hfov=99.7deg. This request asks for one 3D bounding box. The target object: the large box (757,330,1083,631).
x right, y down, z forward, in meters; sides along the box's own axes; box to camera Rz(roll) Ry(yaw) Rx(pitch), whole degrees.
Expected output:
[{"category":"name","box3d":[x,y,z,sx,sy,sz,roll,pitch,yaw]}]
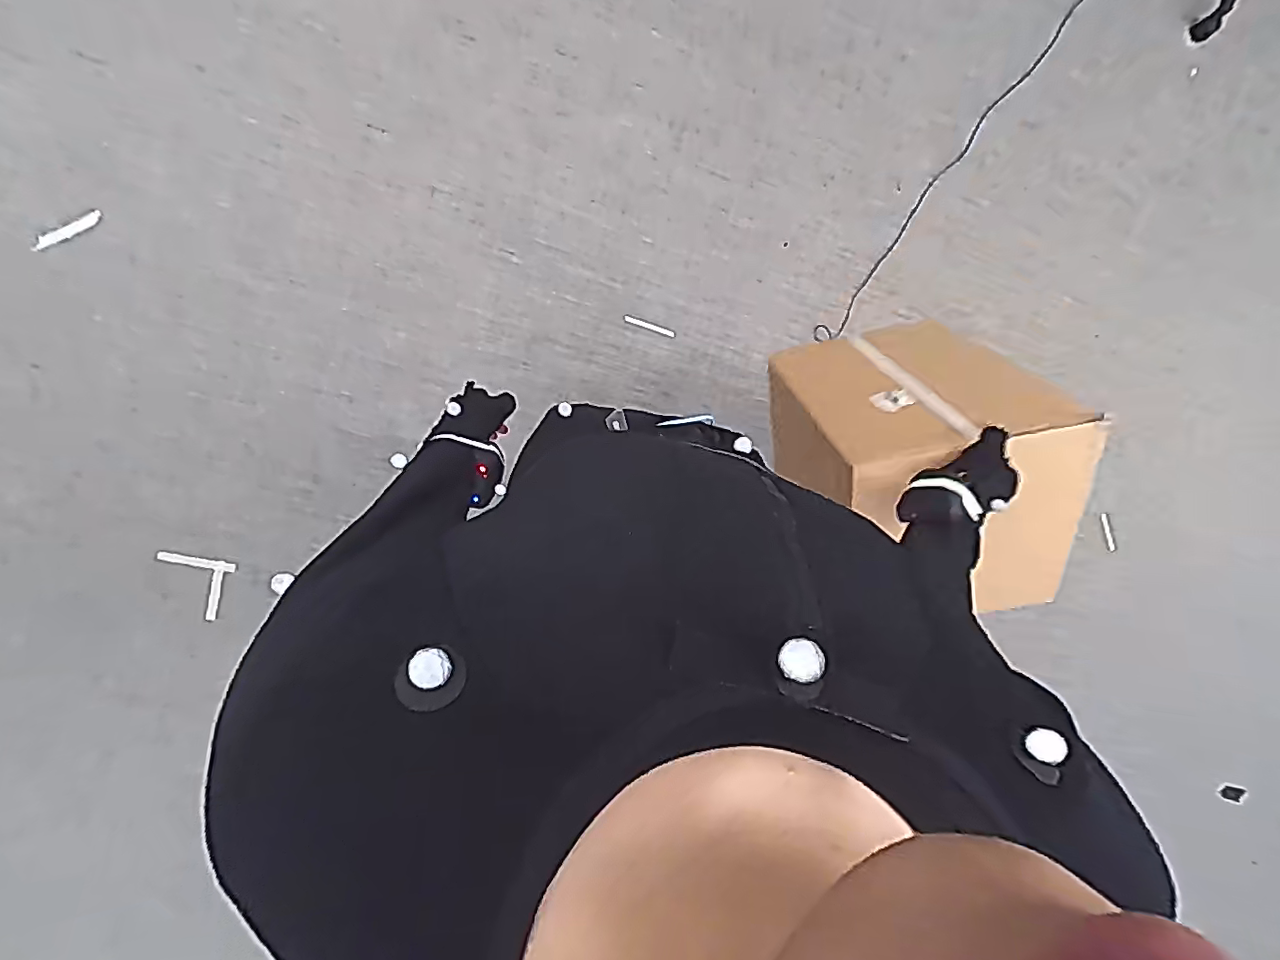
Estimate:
[{"category":"large box","box3d":[0.412,-0.019,0.925,0.320,0.408,0.320,-13,124,2]}]
